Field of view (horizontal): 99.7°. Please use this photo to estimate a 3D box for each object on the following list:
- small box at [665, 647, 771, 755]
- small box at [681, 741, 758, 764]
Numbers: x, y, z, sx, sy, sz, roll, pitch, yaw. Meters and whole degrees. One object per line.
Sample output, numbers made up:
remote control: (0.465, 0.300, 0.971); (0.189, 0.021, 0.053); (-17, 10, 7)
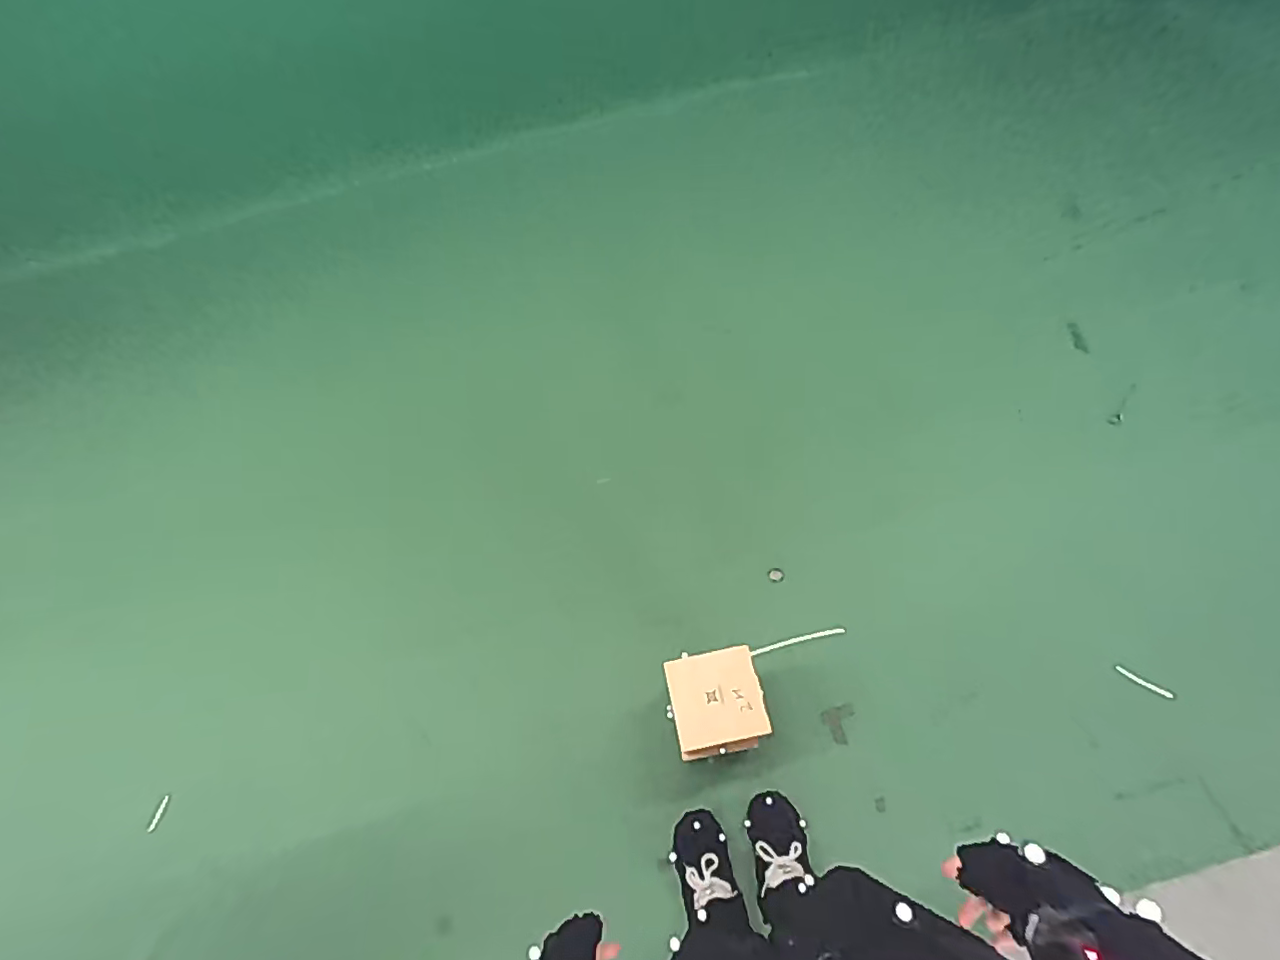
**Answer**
small box: (0.156, 0.457, 1.107); (0.179, 0.176, 0.168); (-12, 61, 0)
small box: (0.167, 0.544, 1.246); (0.168, 0.176, 0.179); (-11, 61, 1)
